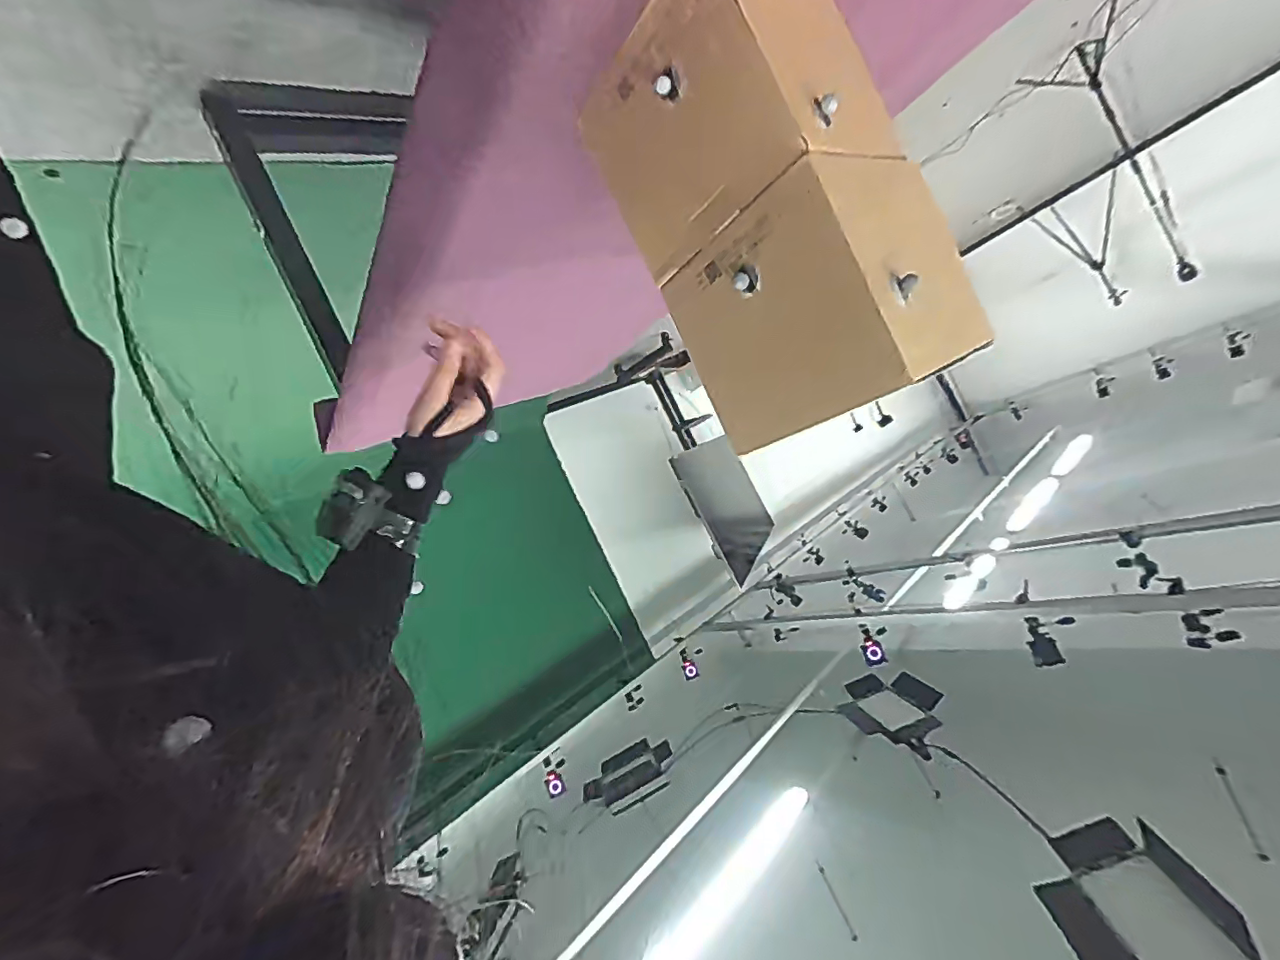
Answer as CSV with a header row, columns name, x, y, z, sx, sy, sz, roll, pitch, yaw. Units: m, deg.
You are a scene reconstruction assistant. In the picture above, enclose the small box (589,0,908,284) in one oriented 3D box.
name,x,y,z,sx,sy,sz,roll,pitch,yaw
small box,0.090,-0.295,0.463,0.179,0.176,0.168,-25,180,-40
